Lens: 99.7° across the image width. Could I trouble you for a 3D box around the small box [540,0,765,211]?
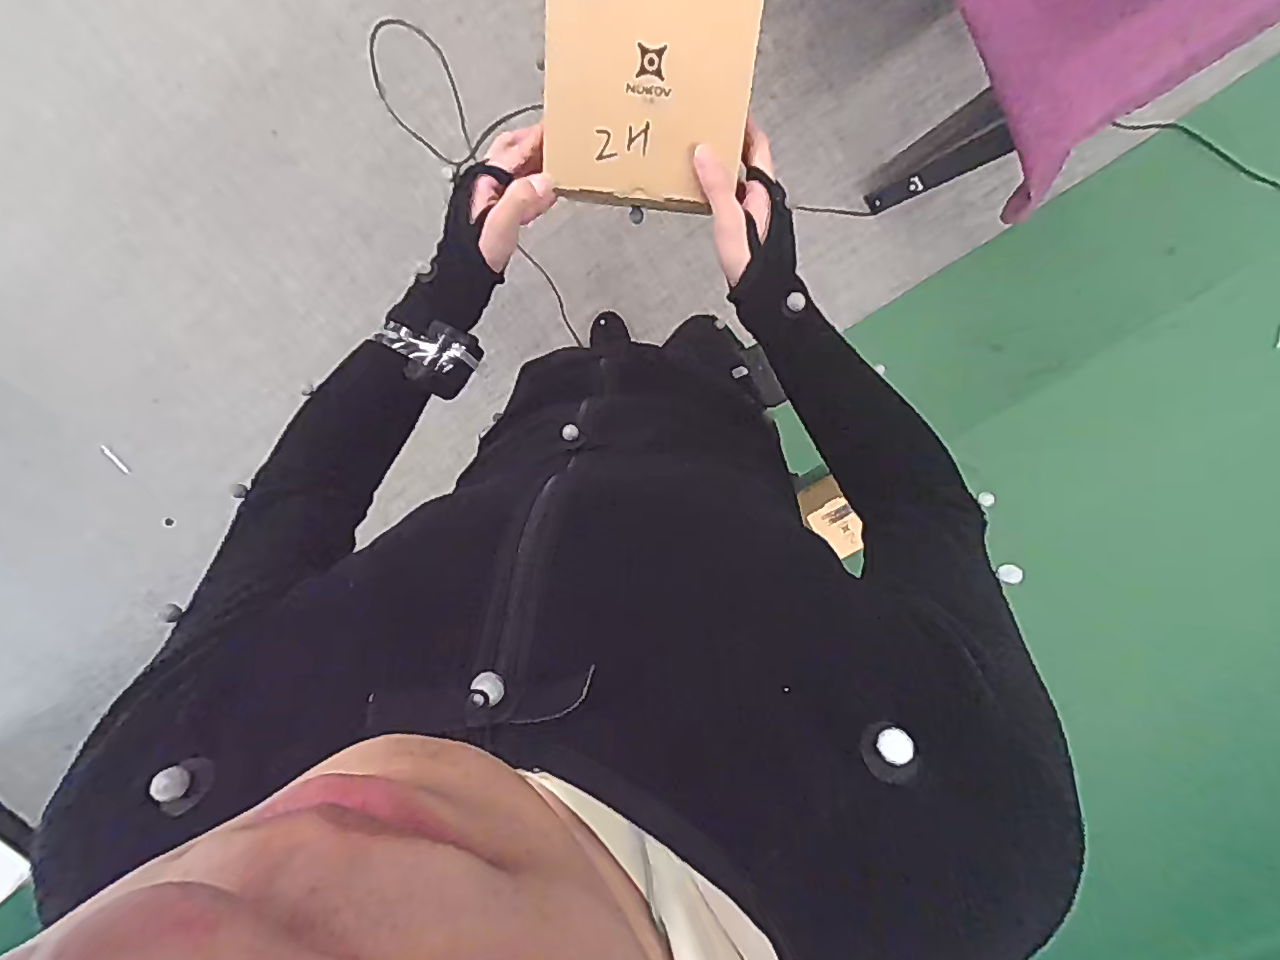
[{"bbox_3d":[0.007,-0.354,0.491,0.168,0.176,0.179,5,114,-2],"label":"small box"}]
